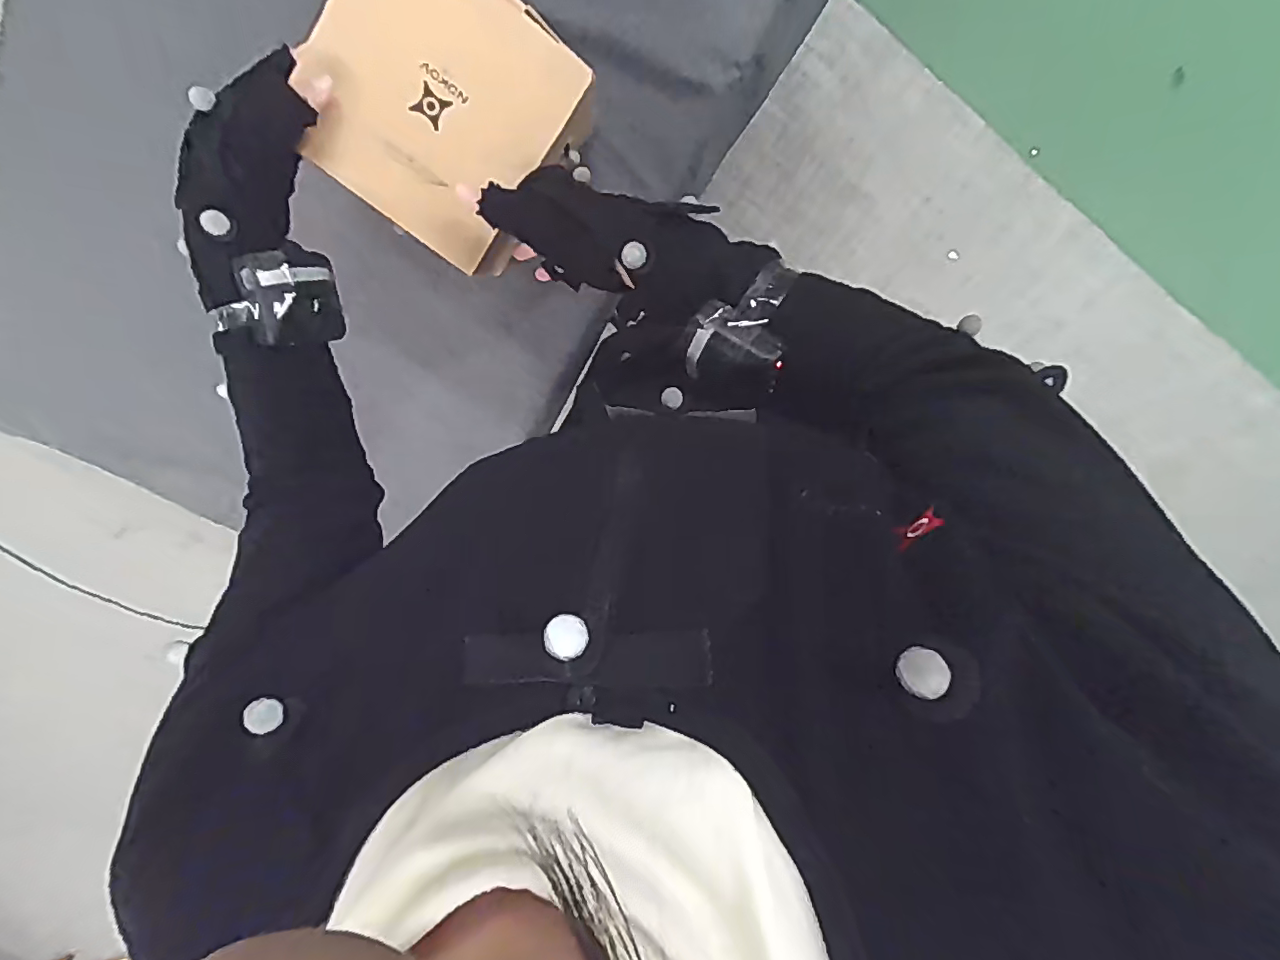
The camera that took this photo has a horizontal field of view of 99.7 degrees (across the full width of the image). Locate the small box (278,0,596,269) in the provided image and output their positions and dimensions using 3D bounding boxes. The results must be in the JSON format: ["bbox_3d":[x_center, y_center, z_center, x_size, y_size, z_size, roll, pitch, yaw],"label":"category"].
[{"bbox_3d":[-0.156,-0.307,0.466,0.168,0.176,0.179,33,103,-17],"label":"small box"}]
